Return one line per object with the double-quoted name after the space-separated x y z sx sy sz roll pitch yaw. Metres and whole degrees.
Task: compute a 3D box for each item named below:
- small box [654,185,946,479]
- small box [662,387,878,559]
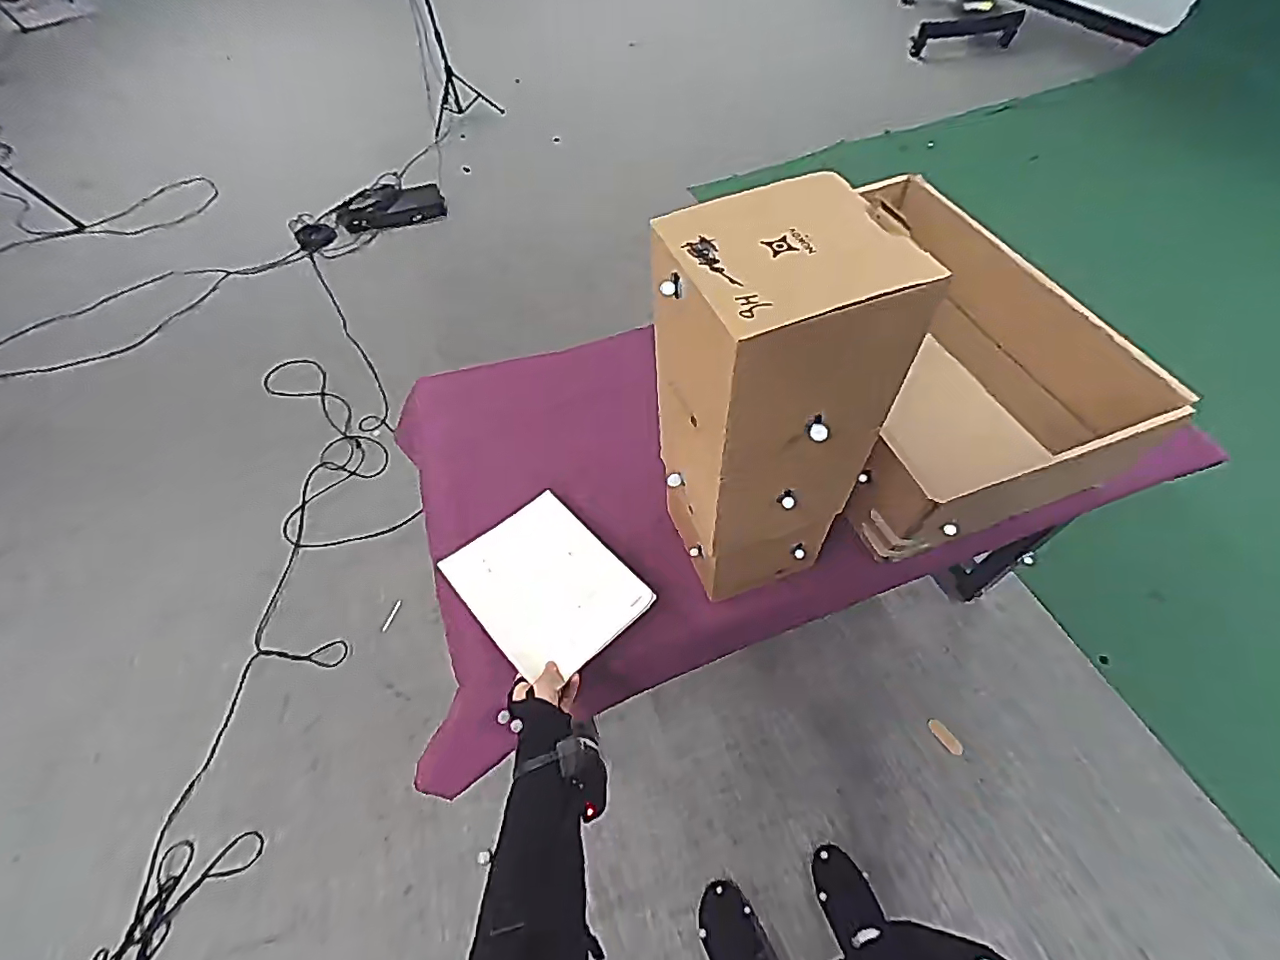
0.120 -0.128 0.486 0.179 0.176 0.168 -18 55 -9 "small box"
0.131 -0.035 0.622 0.179 0.176 0.168 -18 55 -7 "small box"
